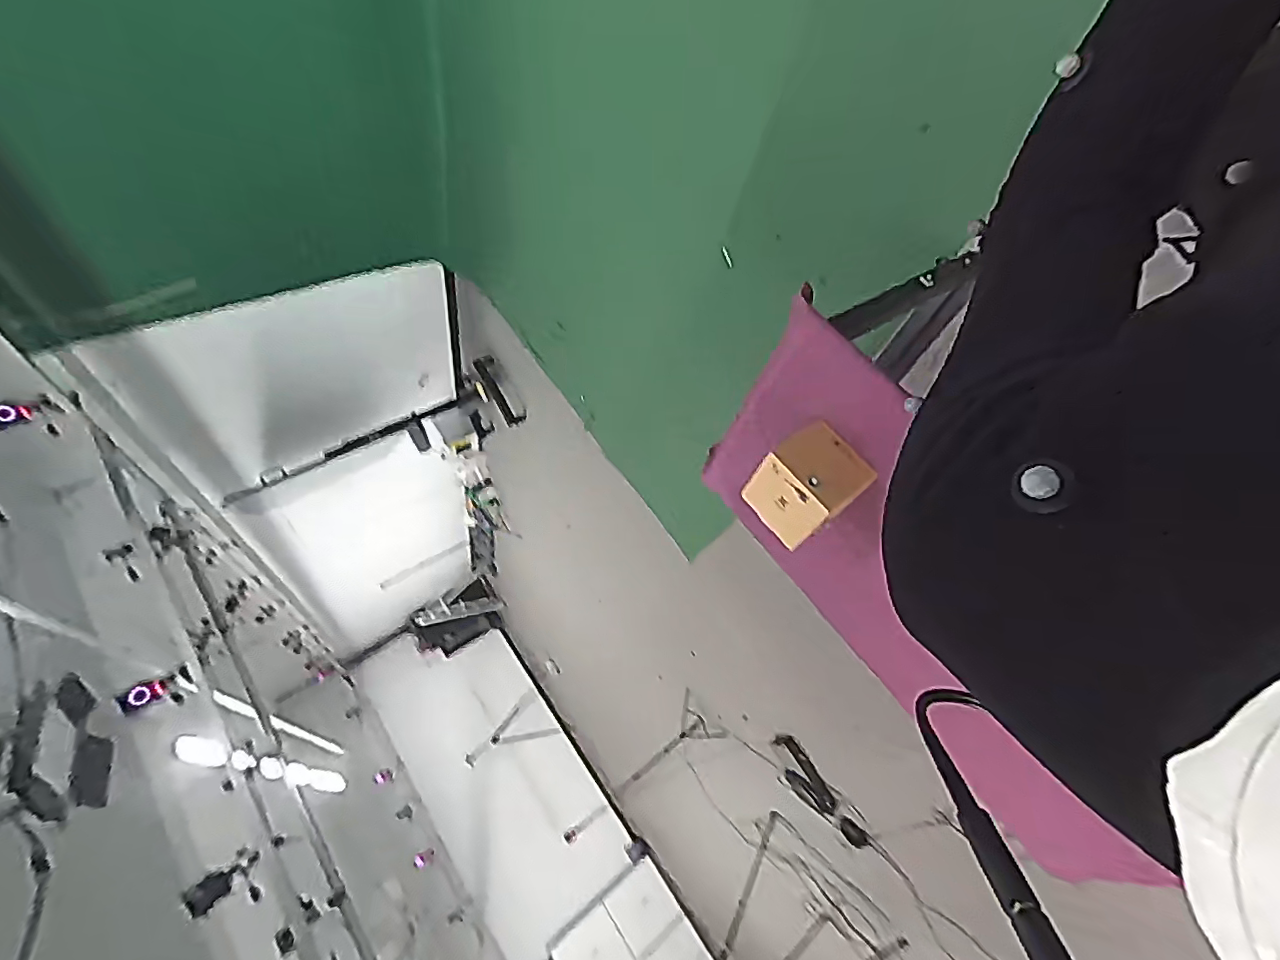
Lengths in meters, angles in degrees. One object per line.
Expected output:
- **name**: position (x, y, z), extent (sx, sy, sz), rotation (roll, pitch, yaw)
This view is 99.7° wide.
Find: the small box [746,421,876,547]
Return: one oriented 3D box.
- **small box**: position (0.363, 0.007, 1.152), extent (0.168, 0.176, 0.179), rotation (49, 151, 19)
